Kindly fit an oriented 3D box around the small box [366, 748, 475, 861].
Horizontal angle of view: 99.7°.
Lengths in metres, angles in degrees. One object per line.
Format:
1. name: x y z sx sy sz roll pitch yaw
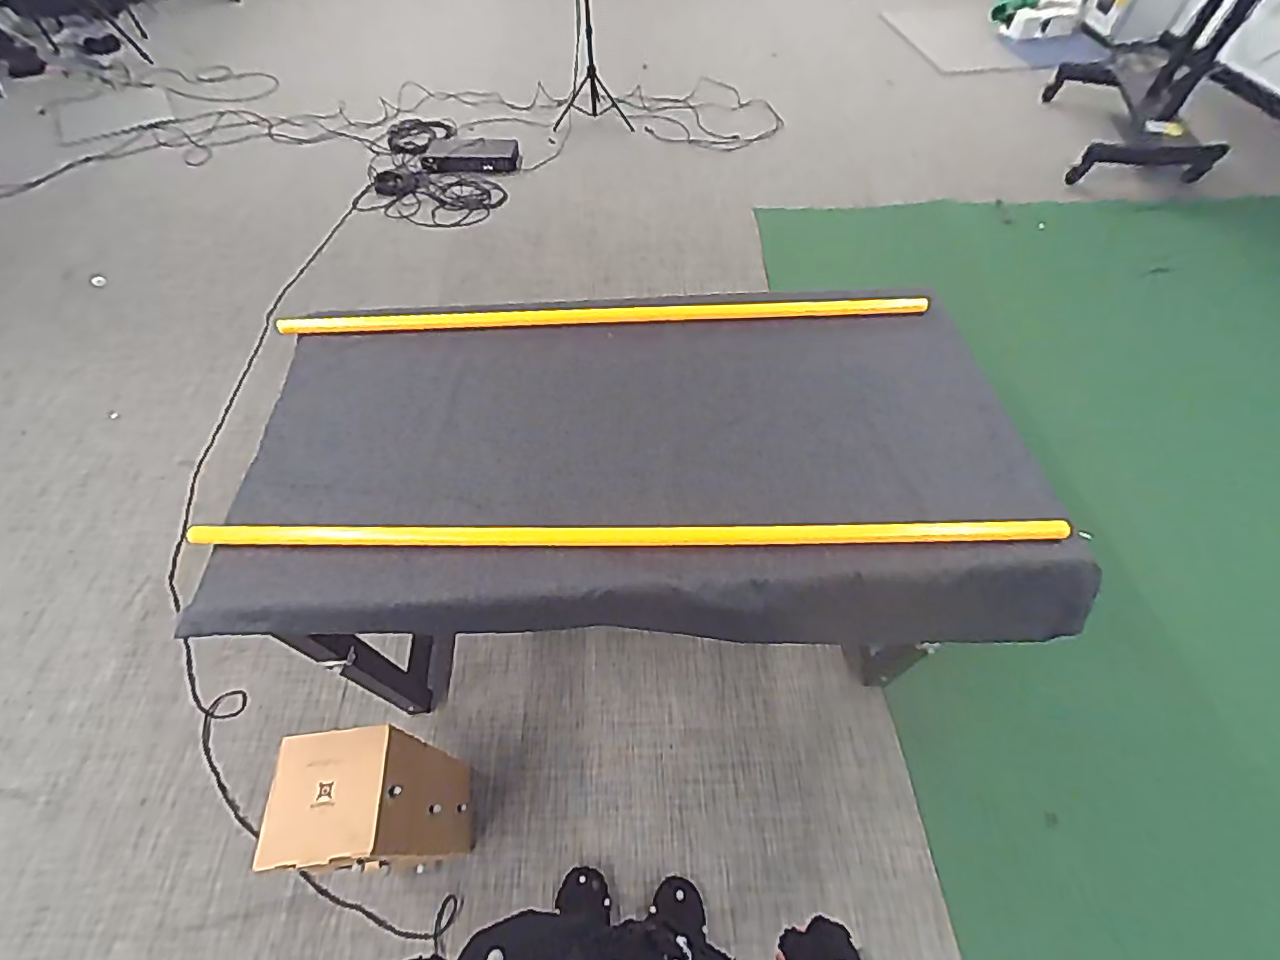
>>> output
1. small box: -0.452 0.686 1.142 0.168 0.176 0.179 -9 57 -5
